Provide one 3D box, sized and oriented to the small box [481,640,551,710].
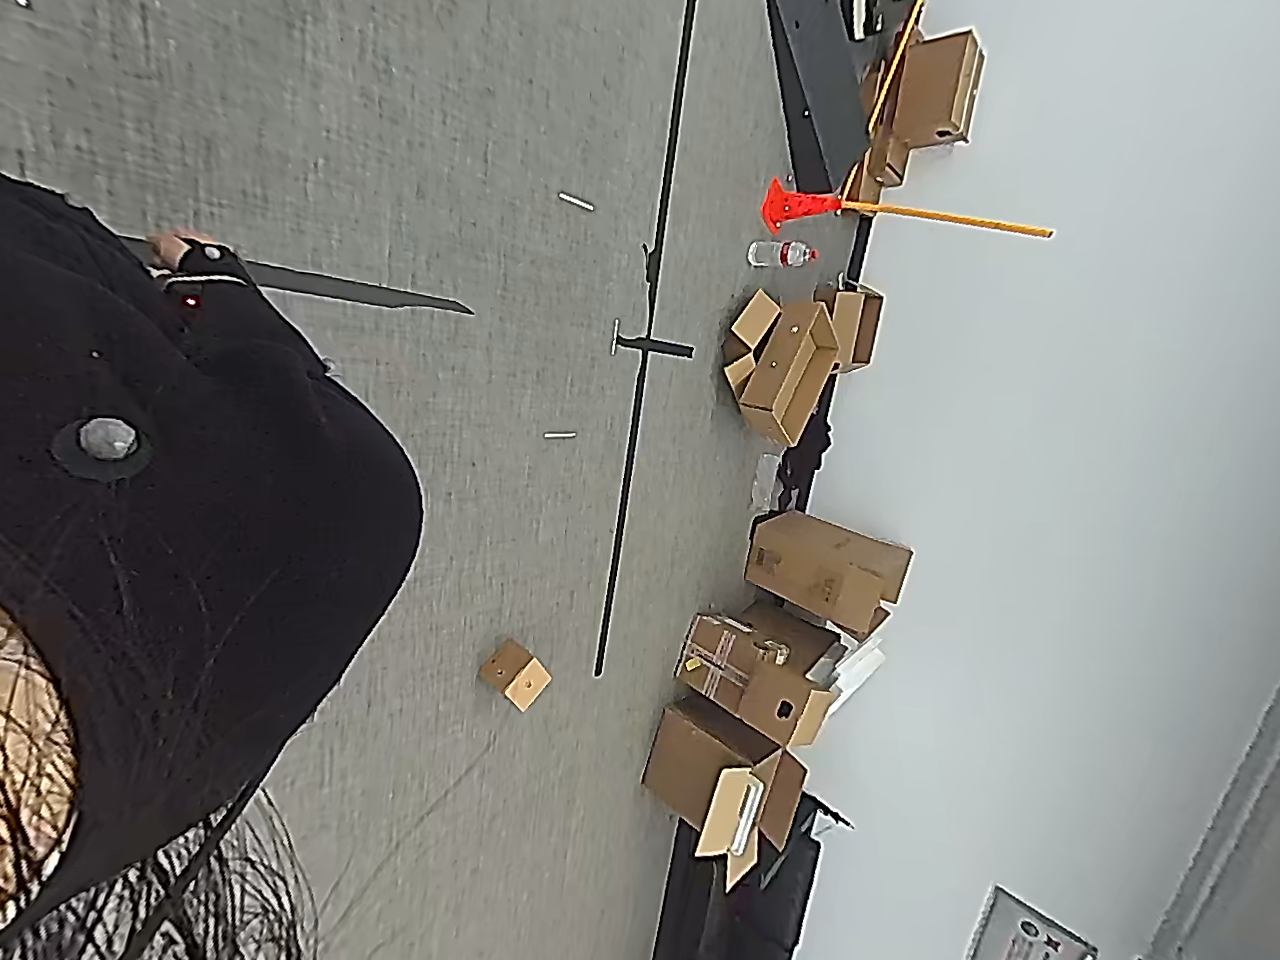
[{"bbox_3d":[-0.484,0.746,2.094,0.168,0.176,0.179,-47,138,-26],"label":"small box"}]
